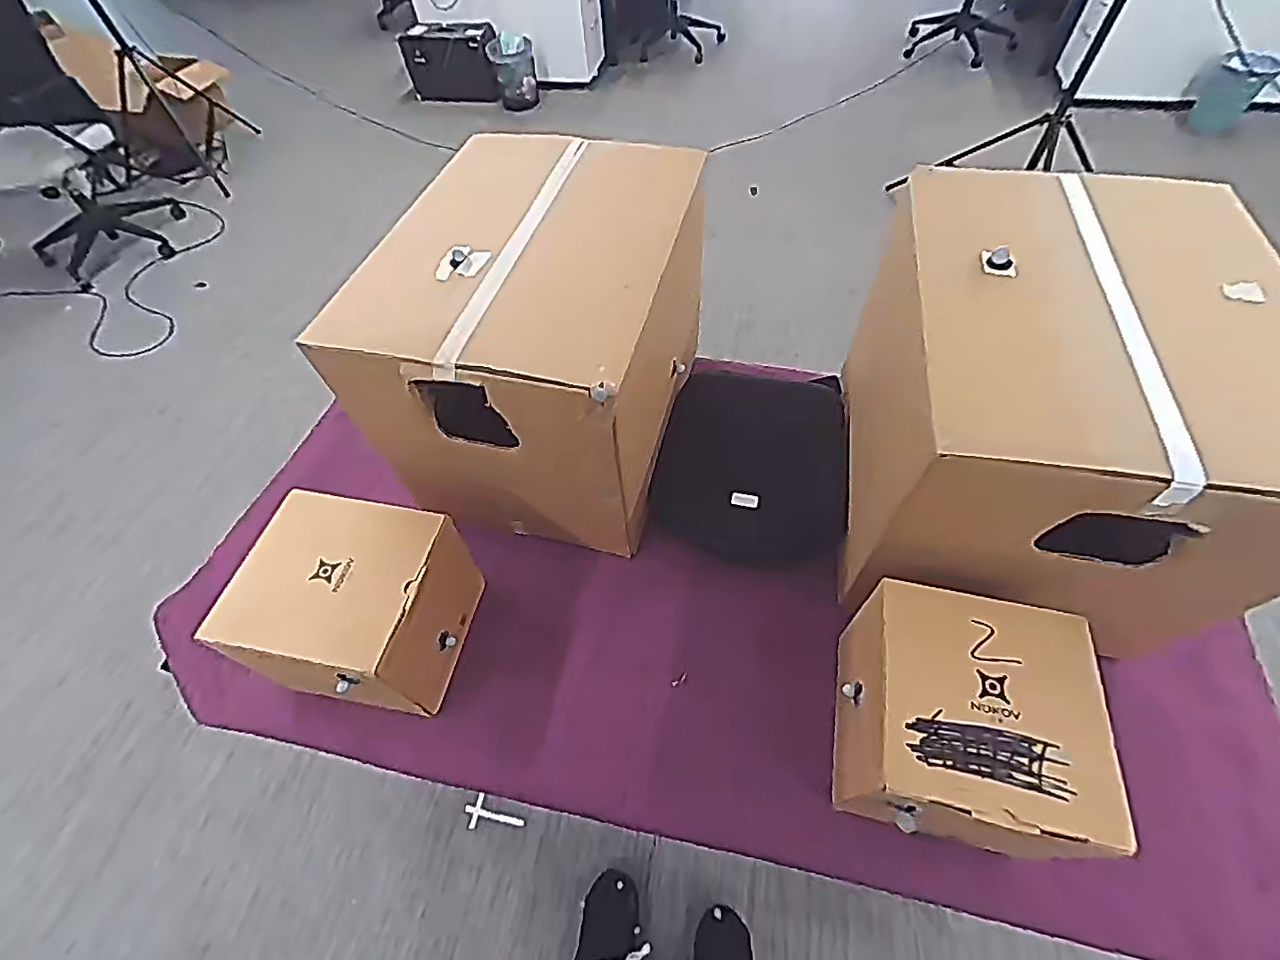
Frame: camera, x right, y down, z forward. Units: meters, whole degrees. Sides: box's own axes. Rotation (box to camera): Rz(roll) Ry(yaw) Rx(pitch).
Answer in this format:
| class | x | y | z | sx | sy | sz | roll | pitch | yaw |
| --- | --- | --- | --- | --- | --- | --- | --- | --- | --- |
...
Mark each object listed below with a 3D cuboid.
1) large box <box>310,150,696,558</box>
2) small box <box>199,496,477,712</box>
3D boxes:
| class | x | y | z | sx | sy | sz | roll | pitch | yaw |
| --- | --- | --- | --- | --- | --- | --- | --- | --- | --- |
| large box | -0.115 | -0.164 | 0.711 | 0.320 | 0.320 | 0.408 | 10 | 59 | 11 |
| small box | -0.303 | 0.140 | 0.591 | 0.179 | 0.176 | 0.168 | 9 | 55 | 5 |
